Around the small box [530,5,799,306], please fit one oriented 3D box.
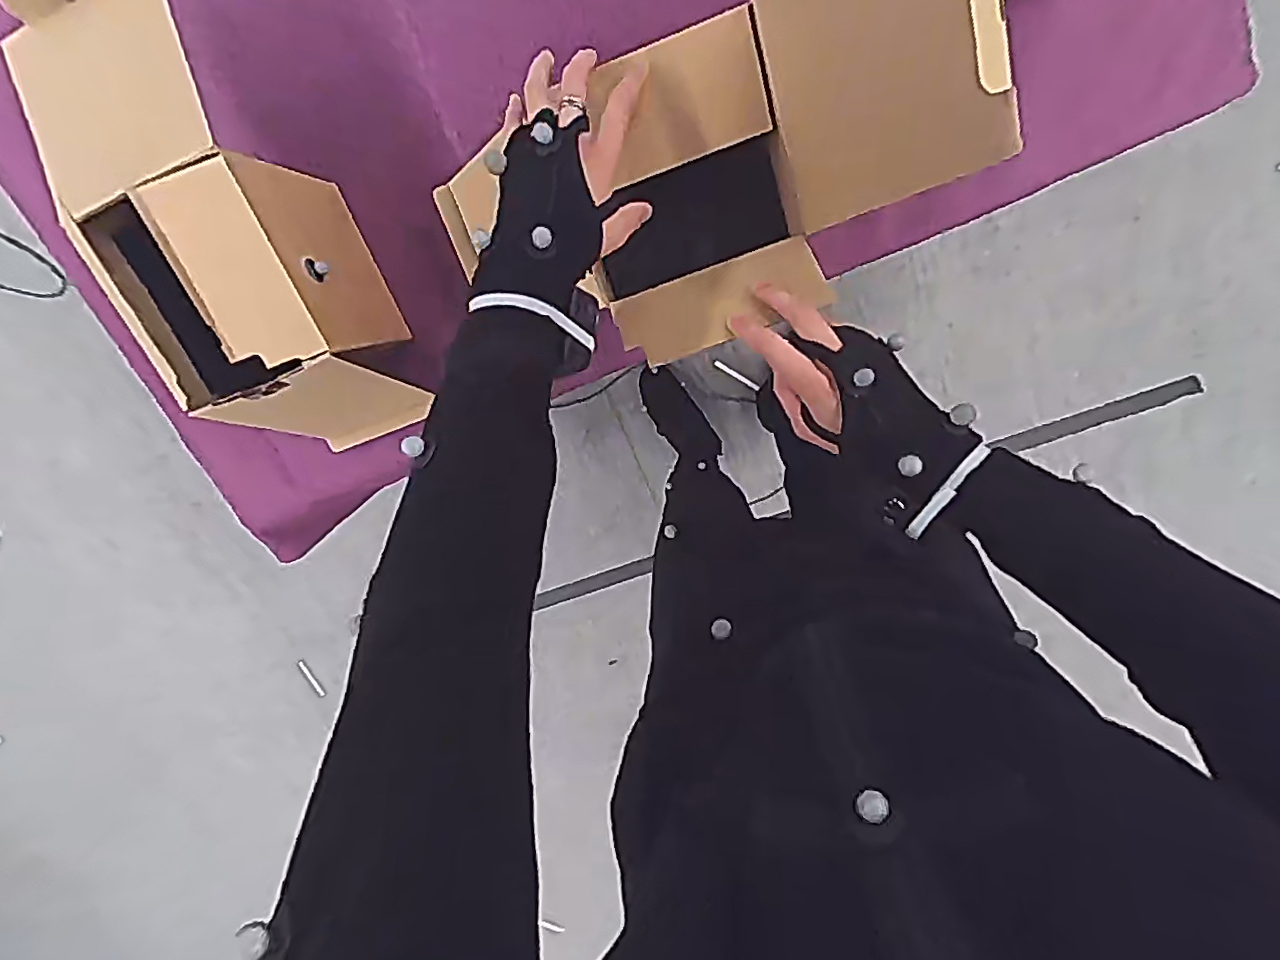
[{"bbox_3d":[0.026,-0.268,0.496,0.179,0.176,0.168,-17,108,9],"label":"small box"}]
